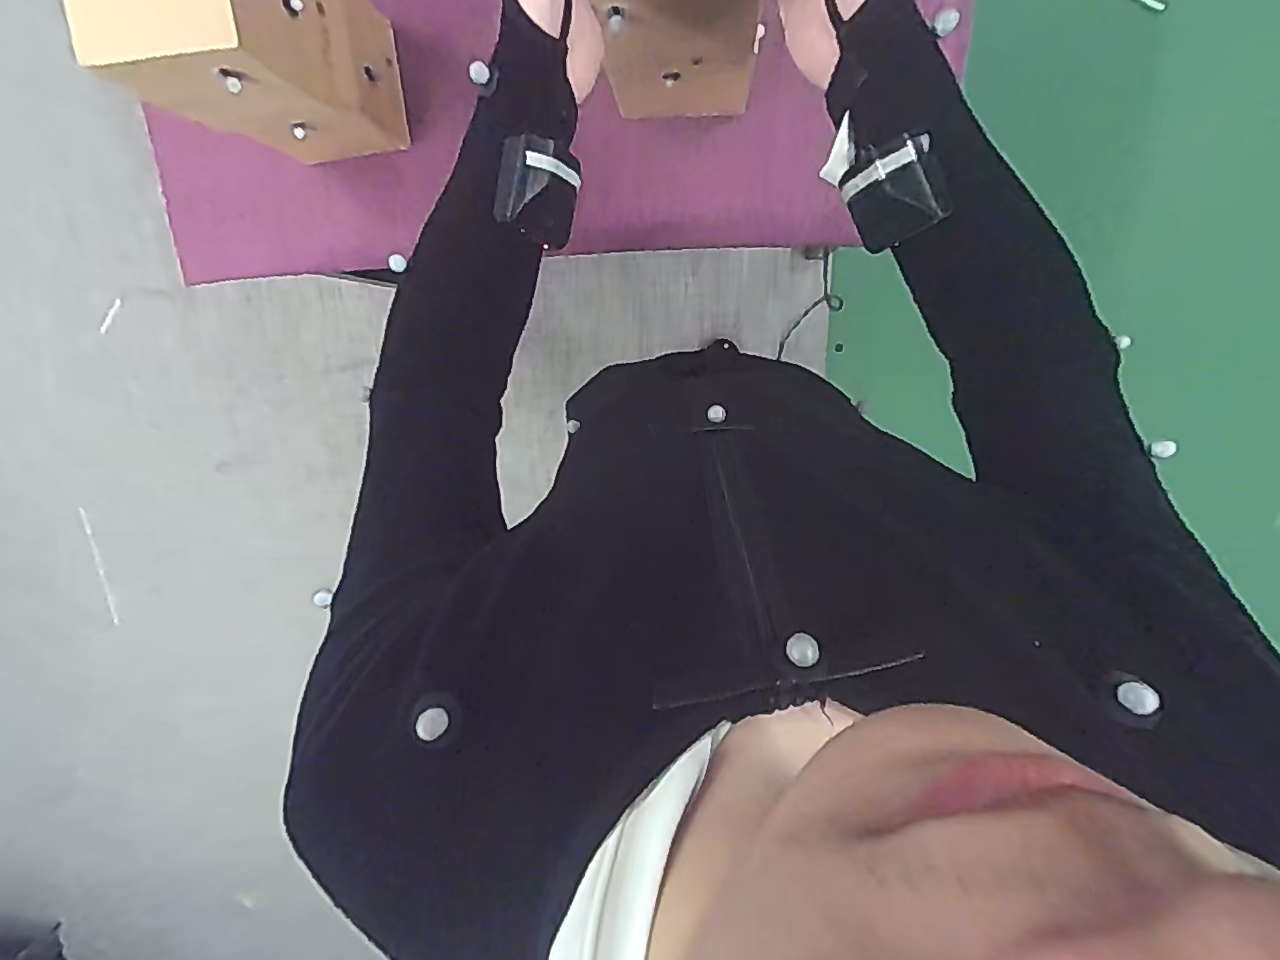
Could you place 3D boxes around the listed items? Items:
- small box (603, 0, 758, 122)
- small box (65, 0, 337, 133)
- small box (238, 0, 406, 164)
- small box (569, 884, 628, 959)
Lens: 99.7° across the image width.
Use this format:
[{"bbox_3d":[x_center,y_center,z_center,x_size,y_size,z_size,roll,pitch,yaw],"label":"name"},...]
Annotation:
[{"bbox_3d":[0.053,-0.572,0.677,0.179,0.176,0.168,1,104,5],"label":"small box"},{"bbox_3d":[-0.454,-0.497,0.578,0.179,0.176,0.168,-2,104,7],"label":"small box"},{"bbox_3d":[-0.442,-0.551,0.734,0.179,0.176,0.168,-3,104,7],"label":"small box"},{"bbox_3d":[-0.147,1.619,1.969,0.179,0.176,0.168,8,105,4],"label":"small box"}]
